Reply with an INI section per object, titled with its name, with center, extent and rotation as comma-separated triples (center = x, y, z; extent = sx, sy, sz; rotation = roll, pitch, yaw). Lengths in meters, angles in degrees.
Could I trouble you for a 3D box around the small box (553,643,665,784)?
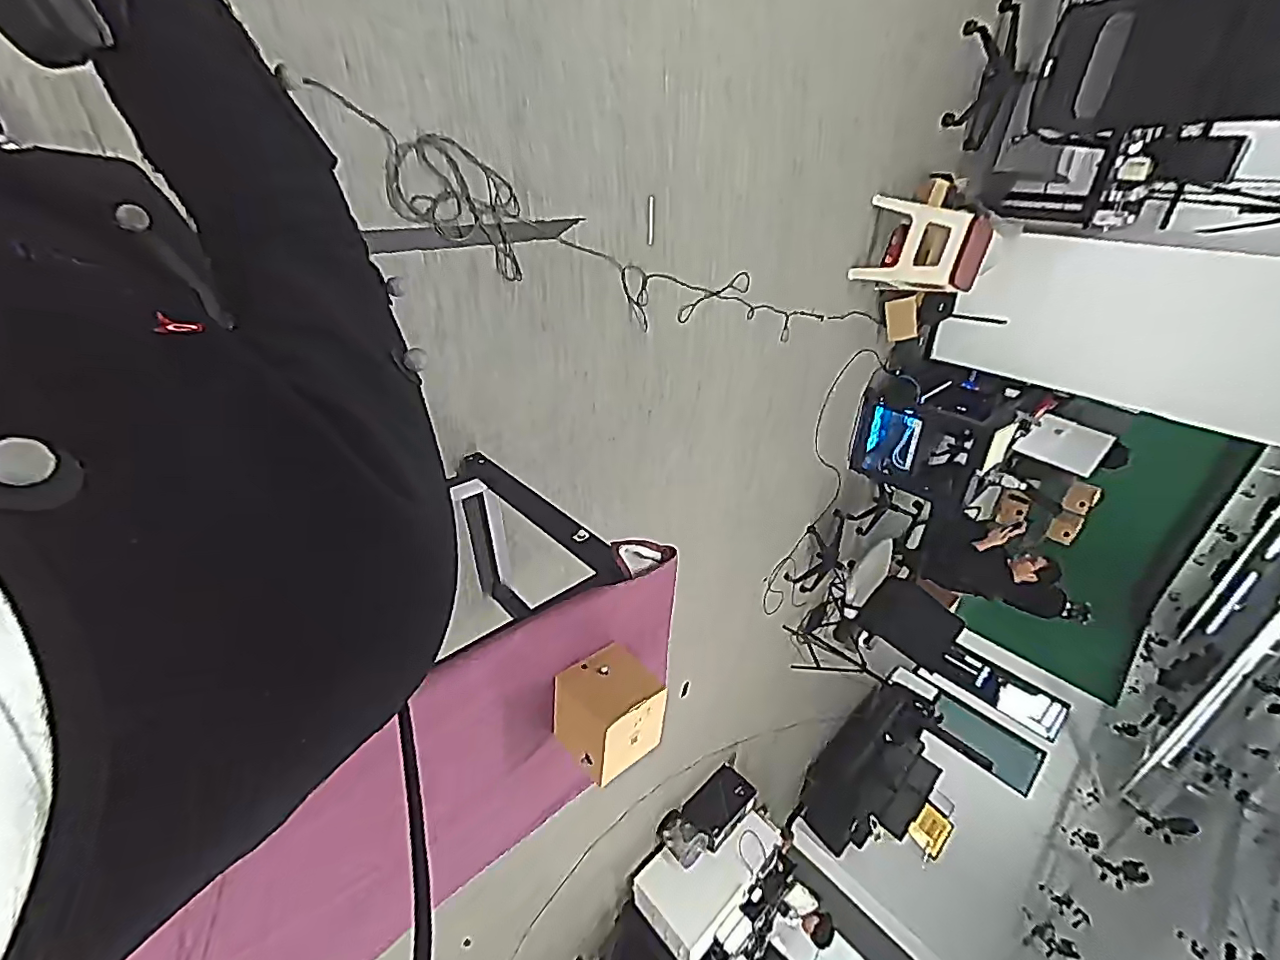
[small box]
center = -0.071, 0.483, 1.143
extent = 0.168, 0.176, 0.179
rotation = -18, 124, -41
